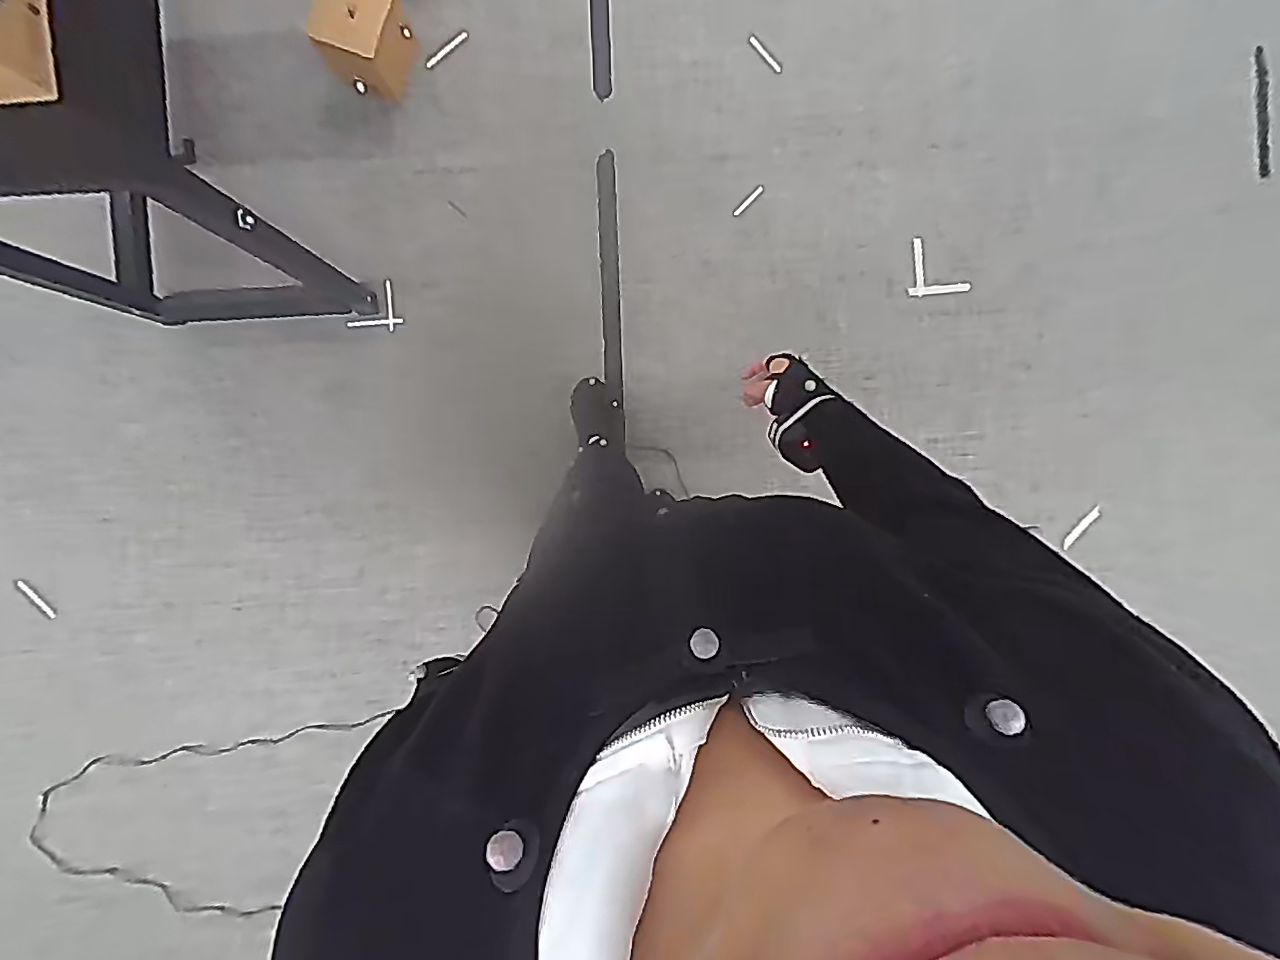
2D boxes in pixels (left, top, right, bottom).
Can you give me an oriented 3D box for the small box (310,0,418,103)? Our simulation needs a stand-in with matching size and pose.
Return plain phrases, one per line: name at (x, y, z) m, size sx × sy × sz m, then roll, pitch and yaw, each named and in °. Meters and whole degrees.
small box at (-0.686, -1.112, 1.367) m, size 0.168 × 0.176 × 0.179 m, roll 18°, pitch 93°, yaw -1°
